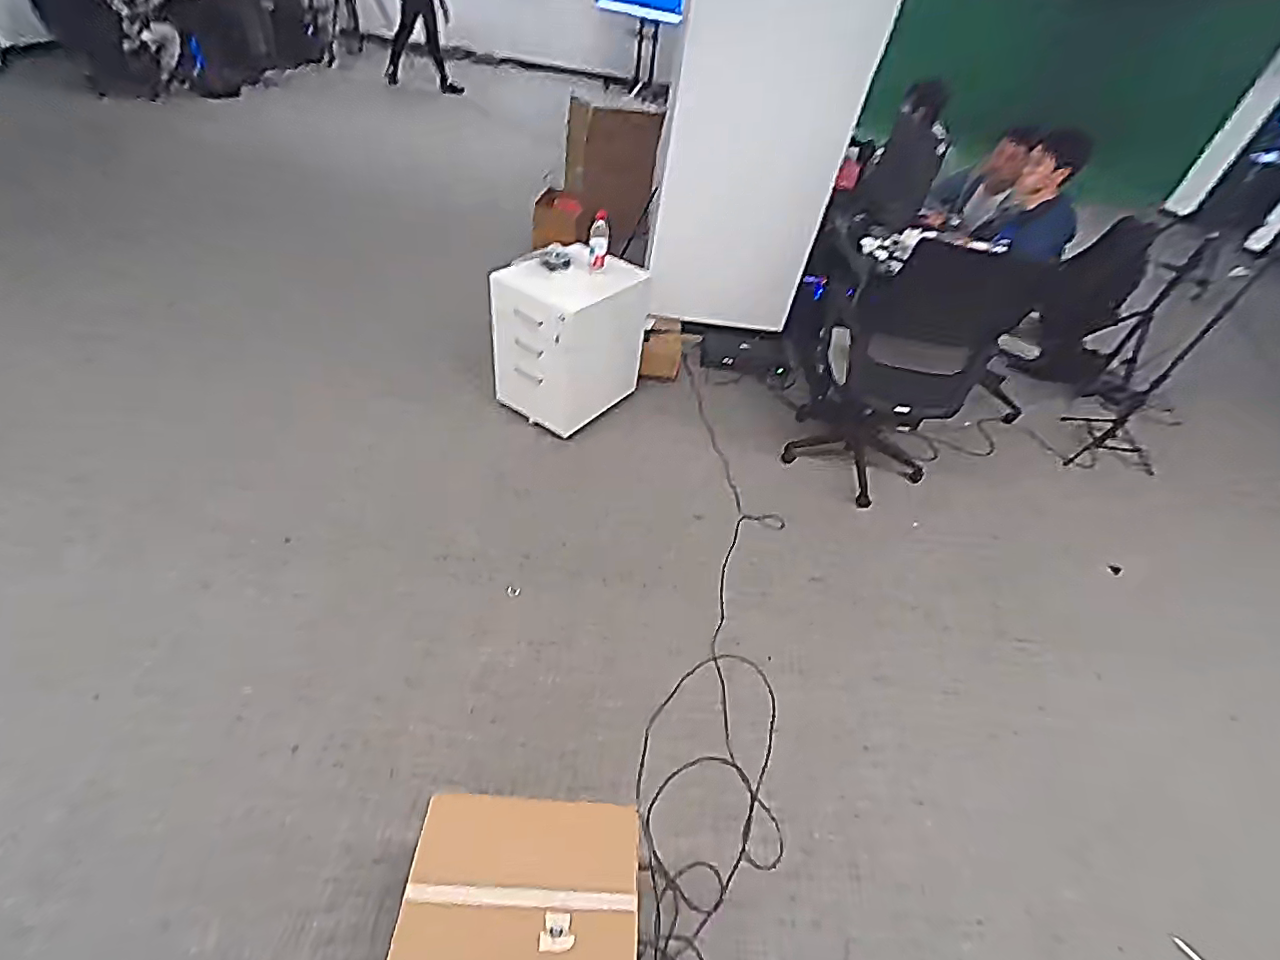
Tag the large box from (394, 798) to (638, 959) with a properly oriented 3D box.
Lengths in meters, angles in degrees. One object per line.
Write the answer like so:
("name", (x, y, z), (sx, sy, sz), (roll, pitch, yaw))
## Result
("large box", (-0.223, 0.848, 1.047), (0.408, 0.320, 0.320), (6, 42, -4))
